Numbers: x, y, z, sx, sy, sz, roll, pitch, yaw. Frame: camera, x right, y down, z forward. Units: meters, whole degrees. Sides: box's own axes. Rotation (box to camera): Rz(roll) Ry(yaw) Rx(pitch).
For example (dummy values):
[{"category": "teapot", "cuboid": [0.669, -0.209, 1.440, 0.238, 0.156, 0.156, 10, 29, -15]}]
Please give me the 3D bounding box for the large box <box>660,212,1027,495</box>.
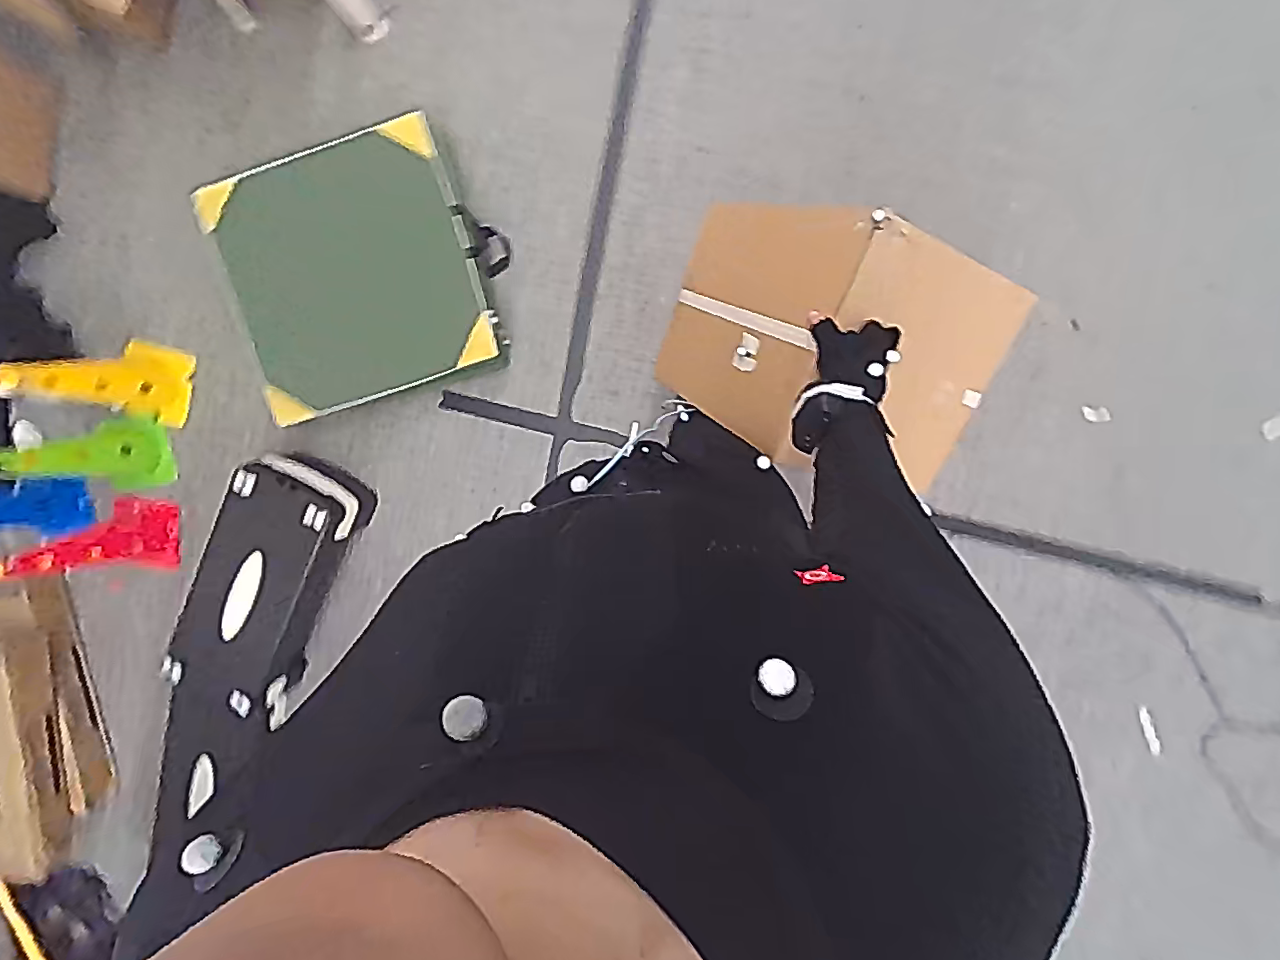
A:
[{"category": "large box", "cuboid": [0.290, -0.216, 0.886, 0.320, 0.408, 0.320, 9, 113, -28]}]
